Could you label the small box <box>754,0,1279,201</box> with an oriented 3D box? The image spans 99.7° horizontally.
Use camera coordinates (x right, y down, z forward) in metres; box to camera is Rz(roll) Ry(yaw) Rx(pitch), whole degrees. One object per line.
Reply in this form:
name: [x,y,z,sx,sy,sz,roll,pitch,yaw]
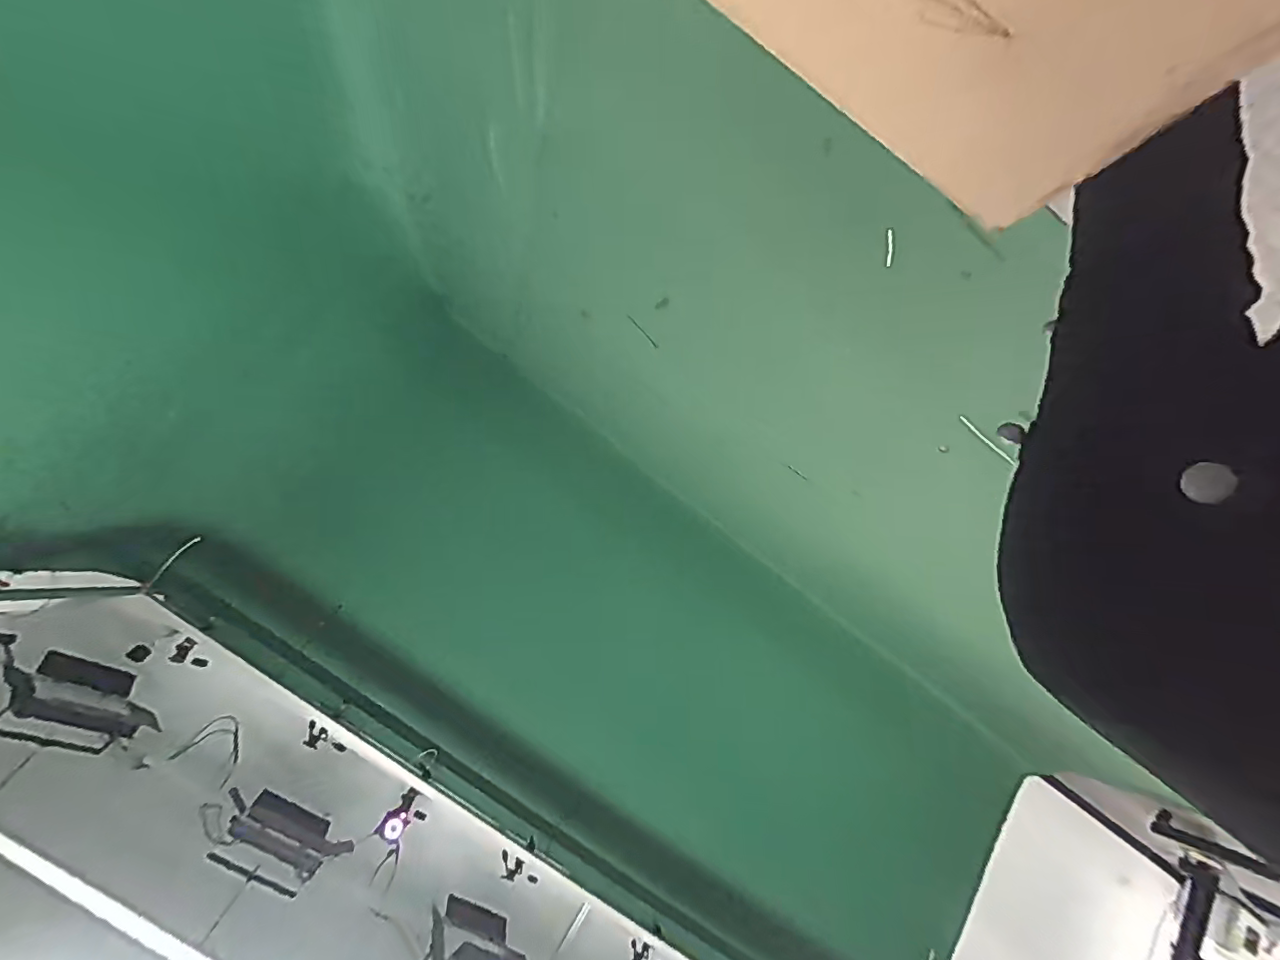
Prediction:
small box: [0.128,-0.221,0.121,0.168,0.176,0.179,35,168,-5]
